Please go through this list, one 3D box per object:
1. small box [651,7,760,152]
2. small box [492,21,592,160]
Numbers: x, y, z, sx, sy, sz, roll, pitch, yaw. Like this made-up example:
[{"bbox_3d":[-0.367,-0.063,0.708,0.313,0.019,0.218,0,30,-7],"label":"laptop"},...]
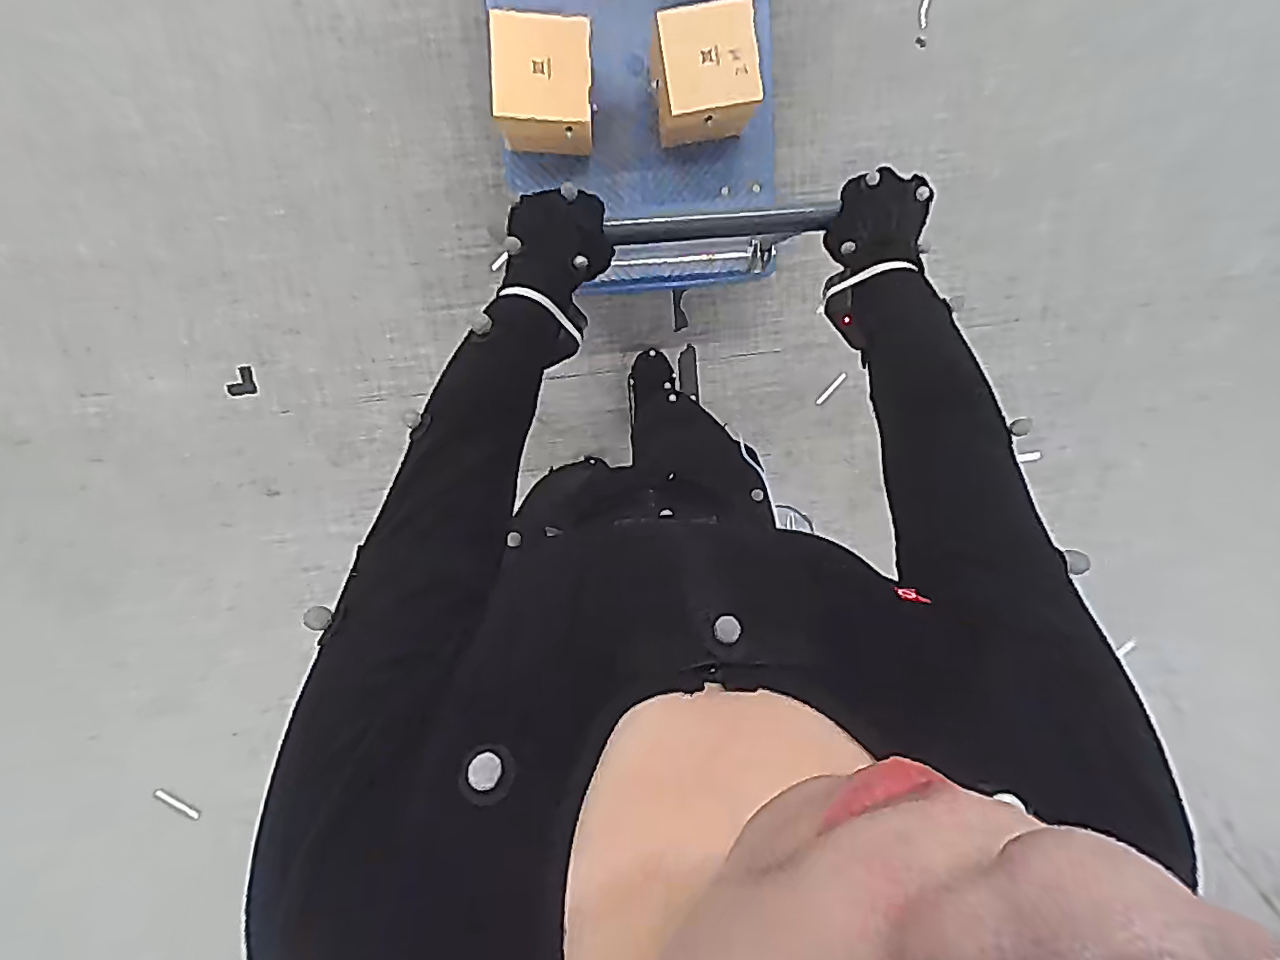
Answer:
[{"bbox_3d":[0.120,-0.772,1.062,0.179,0.176,0.168,-11,104,-2],"label":"small box"},{"bbox_3d":[-0.182,-0.739,1.045,0.179,0.176,0.168,0,103,-6],"label":"small box"}]
